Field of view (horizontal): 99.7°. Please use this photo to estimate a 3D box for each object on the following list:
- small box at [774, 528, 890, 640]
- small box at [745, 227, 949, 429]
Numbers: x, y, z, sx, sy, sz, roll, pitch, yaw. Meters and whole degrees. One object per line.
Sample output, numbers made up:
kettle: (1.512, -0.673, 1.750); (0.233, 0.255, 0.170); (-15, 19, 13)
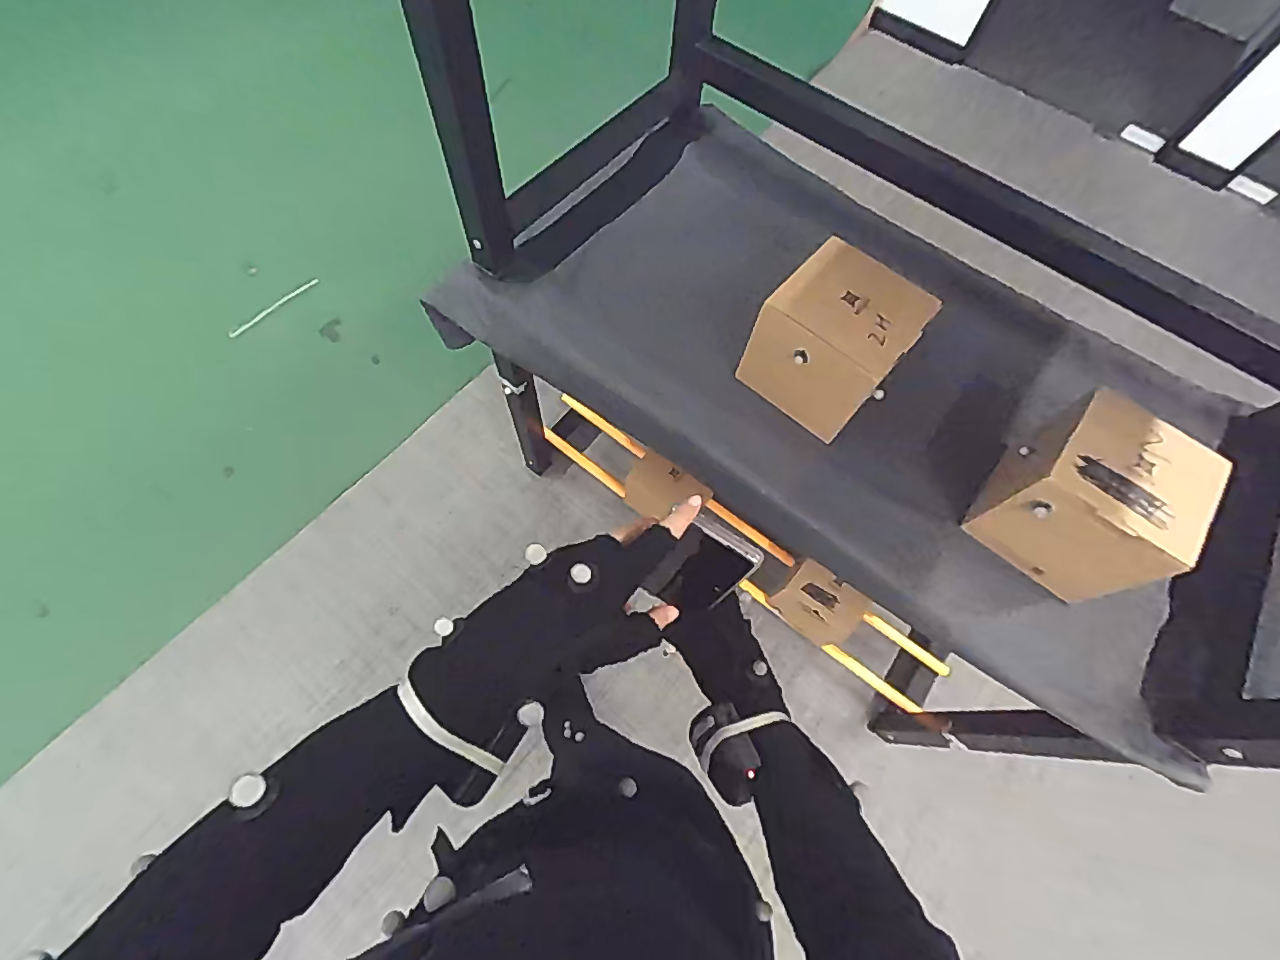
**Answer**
small box: (0.431, 0.246, 1.249); (0.168, 0.176, 0.179); (40, 70, 13)
small box: (0.272, -0.203, 0.753); (0.179, 0.176, 0.168); (39, 70, 13)
